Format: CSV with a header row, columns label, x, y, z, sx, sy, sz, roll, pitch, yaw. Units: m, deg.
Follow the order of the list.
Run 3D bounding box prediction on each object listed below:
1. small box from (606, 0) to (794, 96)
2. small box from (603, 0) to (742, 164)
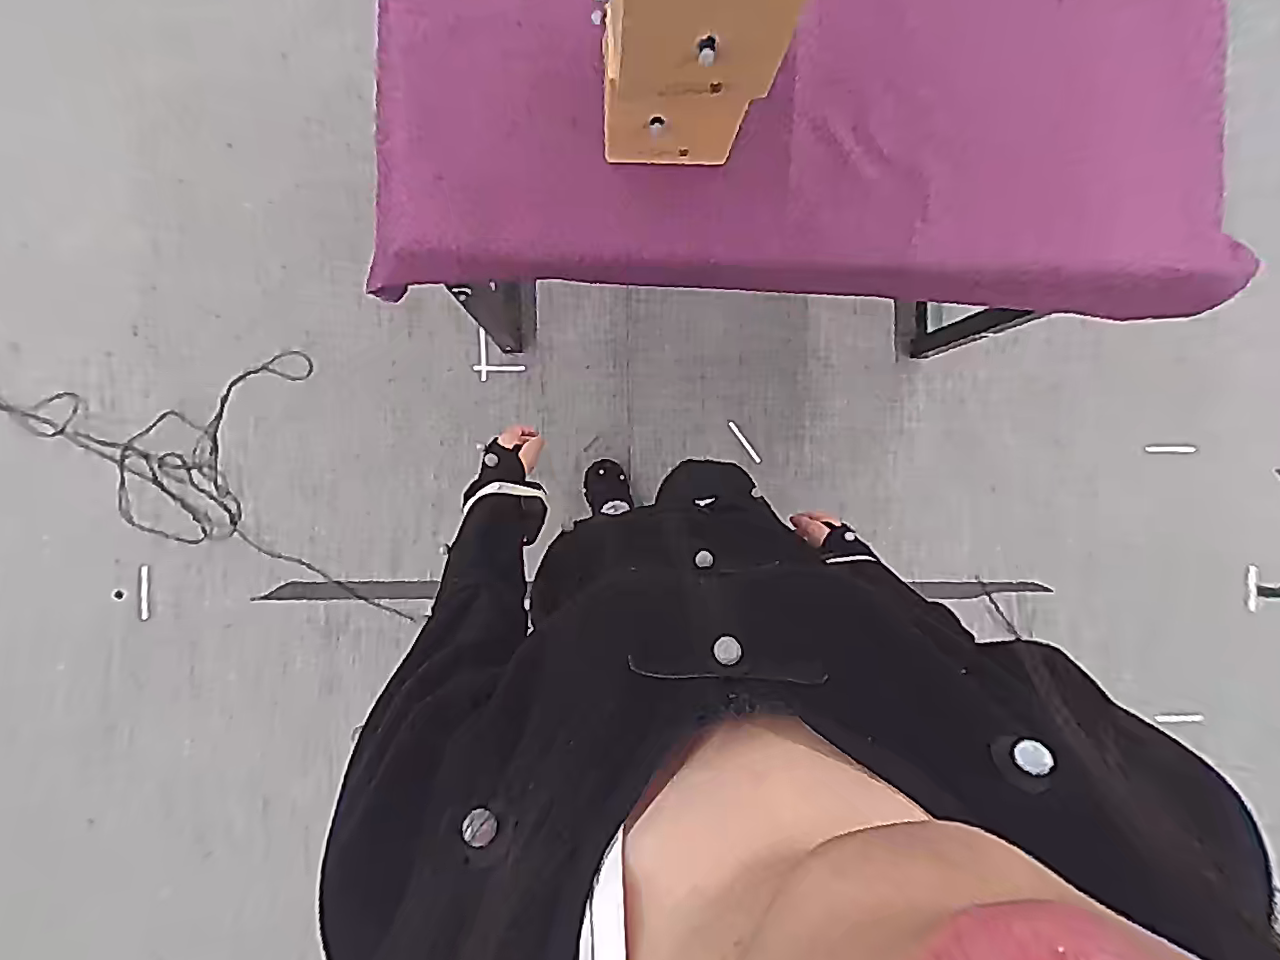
label,x,y,z,sx,sy,sz,roll,pitch,yaw
small box,0.052,-0.498,0.510,0.168,0.176,0.179,-6,92,-4
small box,0.037,-0.523,0.673,0.168,0.176,0.179,-1,91,-4
